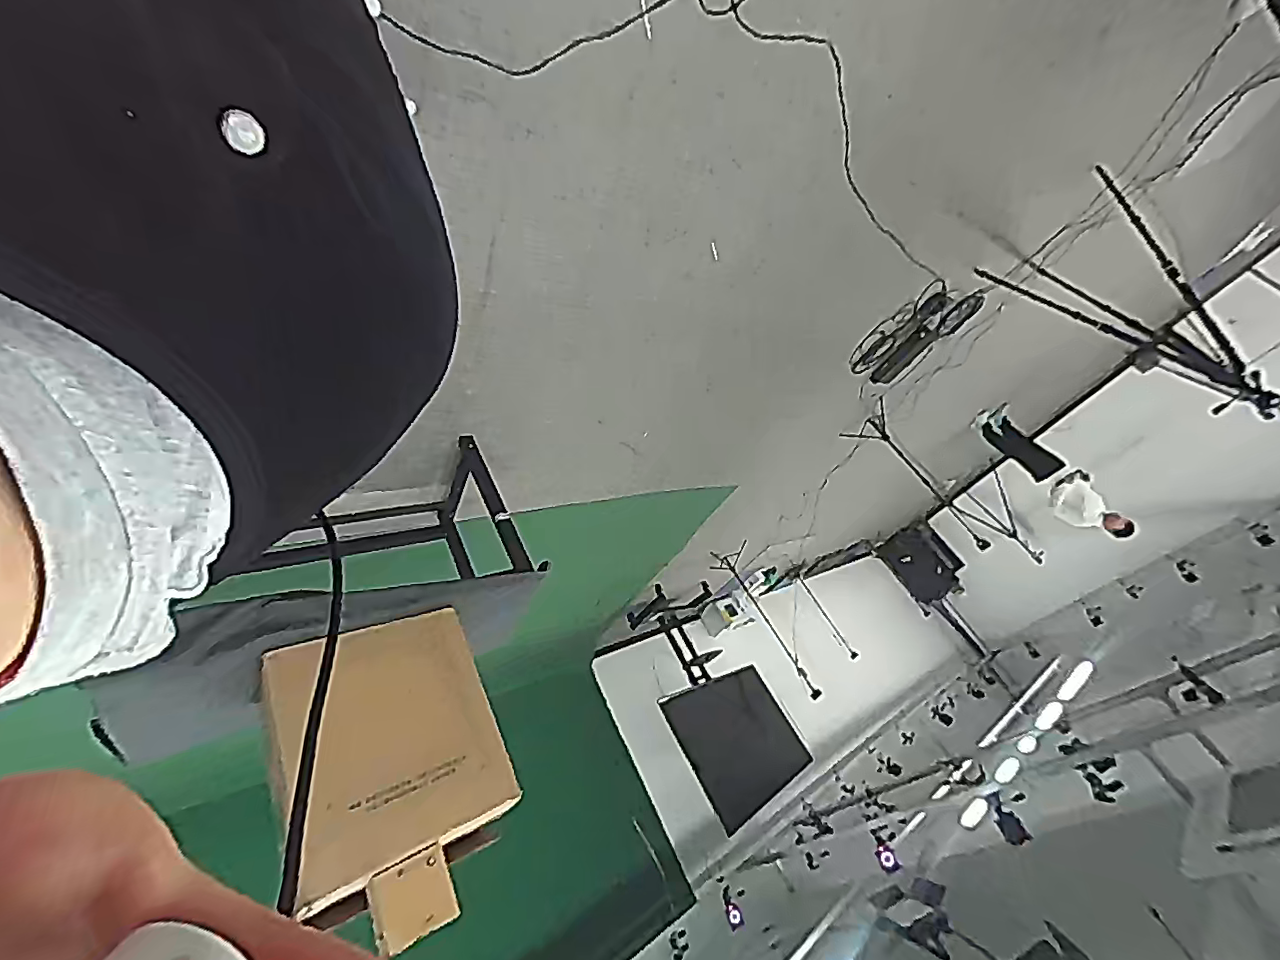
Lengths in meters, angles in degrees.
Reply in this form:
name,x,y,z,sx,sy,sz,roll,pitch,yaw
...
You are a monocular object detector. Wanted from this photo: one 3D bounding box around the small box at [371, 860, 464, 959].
name,x,y,z,sx,sy,sz,roll,pitch,yaw
small box,-0.560,1.088,1.350,0.168,0.176,0.179,-8,145,-38
